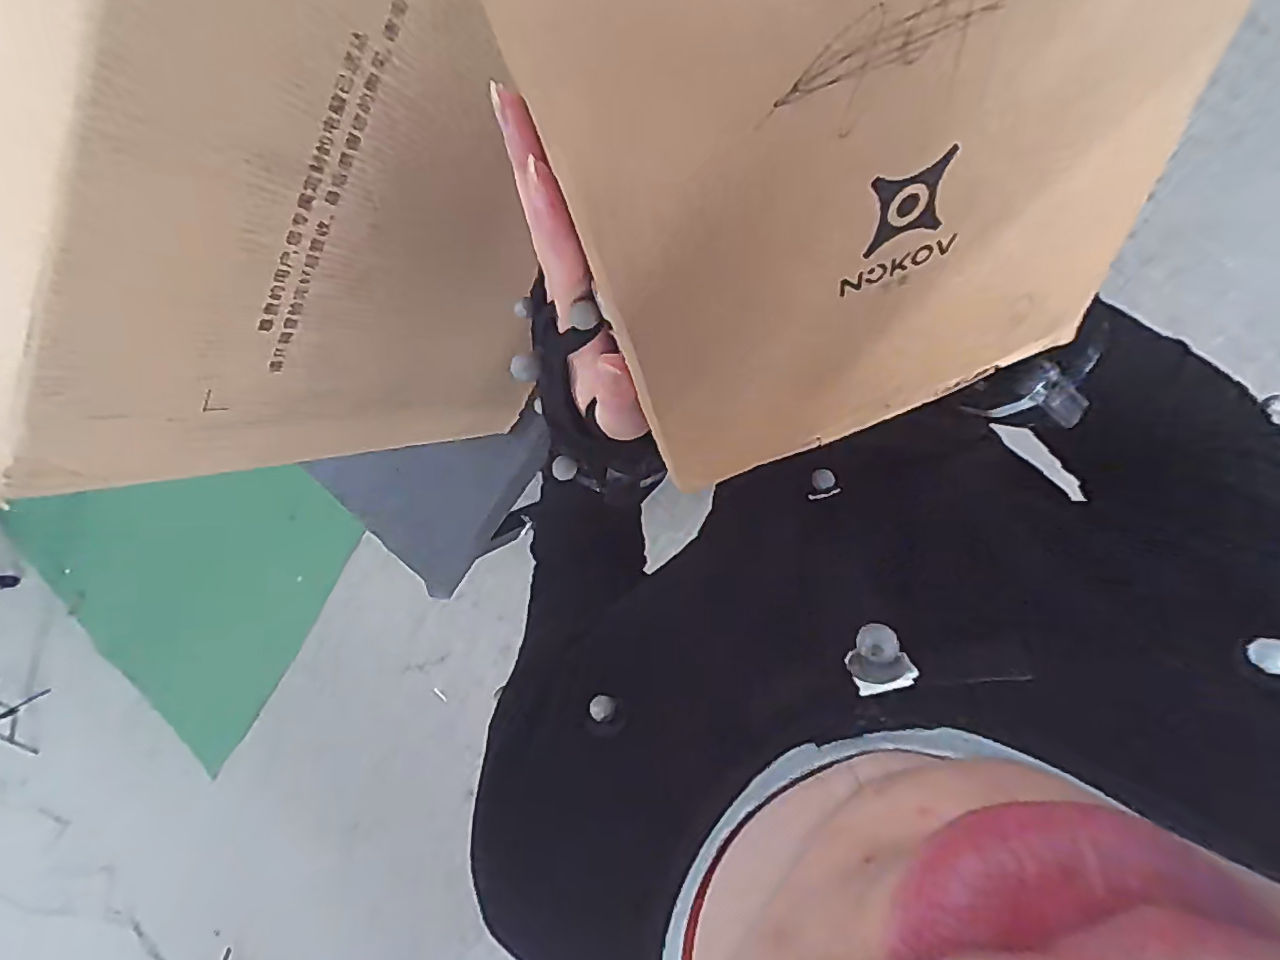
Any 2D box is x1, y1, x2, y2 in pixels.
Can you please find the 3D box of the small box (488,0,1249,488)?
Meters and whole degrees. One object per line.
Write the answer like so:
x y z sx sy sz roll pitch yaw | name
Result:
0.050 -0.132 0.199 0.168 0.179 0.176 -22 53 1 | small box
